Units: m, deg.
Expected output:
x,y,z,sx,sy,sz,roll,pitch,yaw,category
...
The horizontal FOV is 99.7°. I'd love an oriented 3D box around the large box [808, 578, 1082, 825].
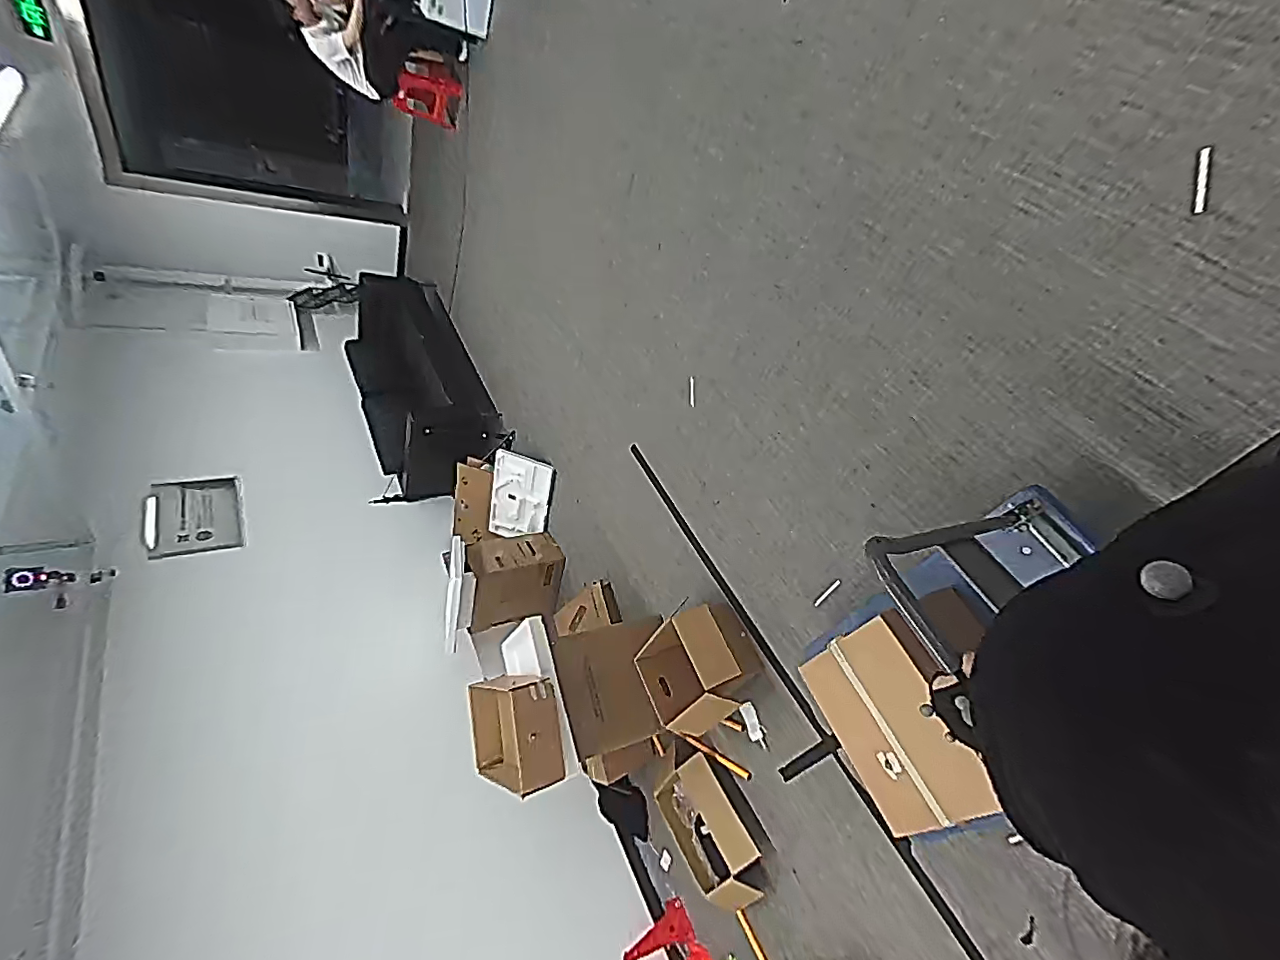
x,y,z,sx,sy,sz,roll,pitch,yaw,category
0.690,0.500,1.267,0.408,0.320,0.320,62,142,28,large box
